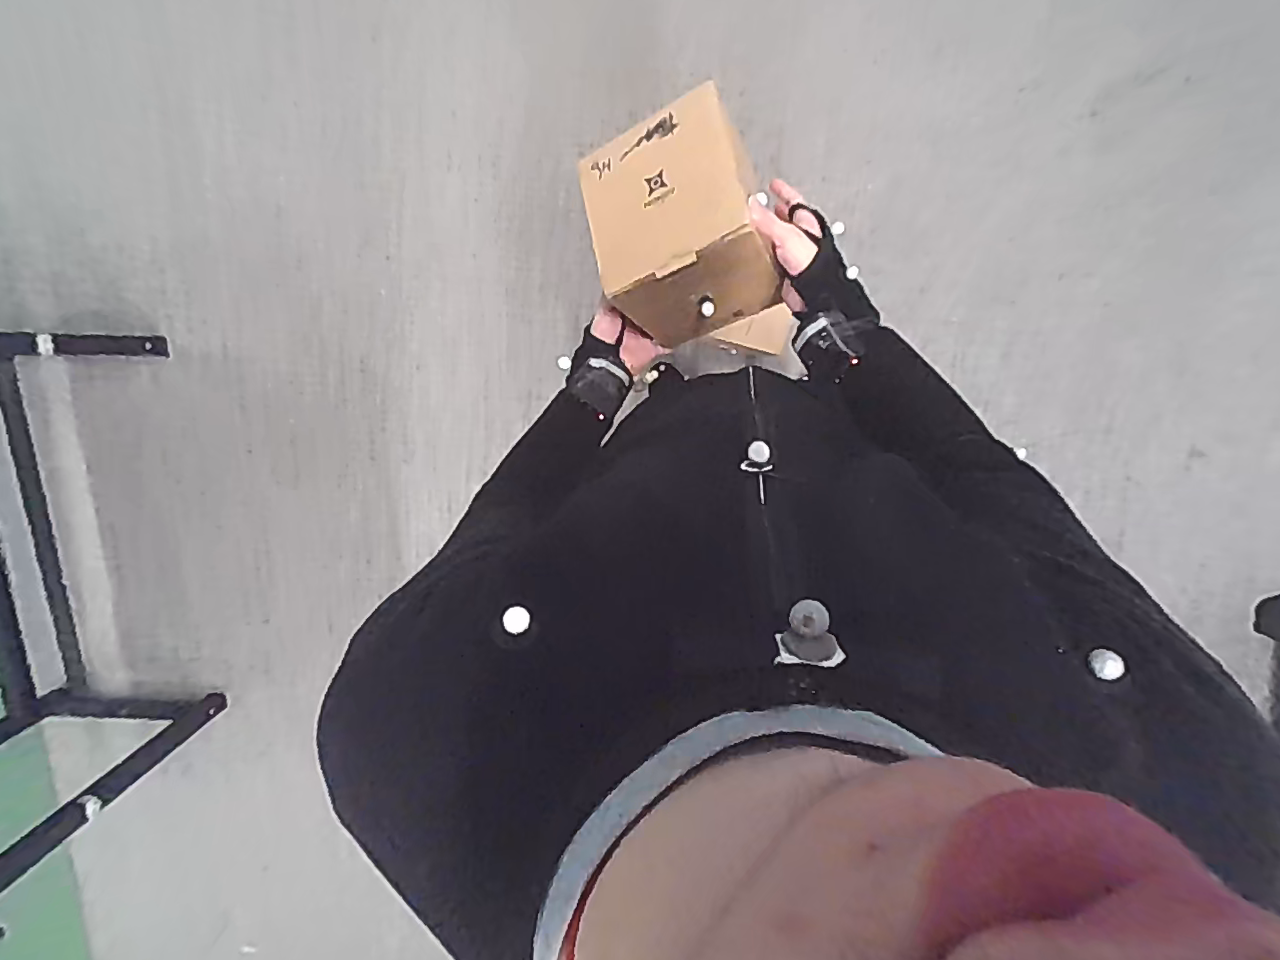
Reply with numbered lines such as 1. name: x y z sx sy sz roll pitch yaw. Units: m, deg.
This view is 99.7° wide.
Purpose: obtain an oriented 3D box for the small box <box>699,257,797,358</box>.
1. small box: 0.236 -0.386 1.239 0.168 0.176 0.179 15 103 -1

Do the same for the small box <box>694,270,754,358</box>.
1. small box: 0.239 -0.423 1.400 0.168 0.176 0.179 14 104 -1
